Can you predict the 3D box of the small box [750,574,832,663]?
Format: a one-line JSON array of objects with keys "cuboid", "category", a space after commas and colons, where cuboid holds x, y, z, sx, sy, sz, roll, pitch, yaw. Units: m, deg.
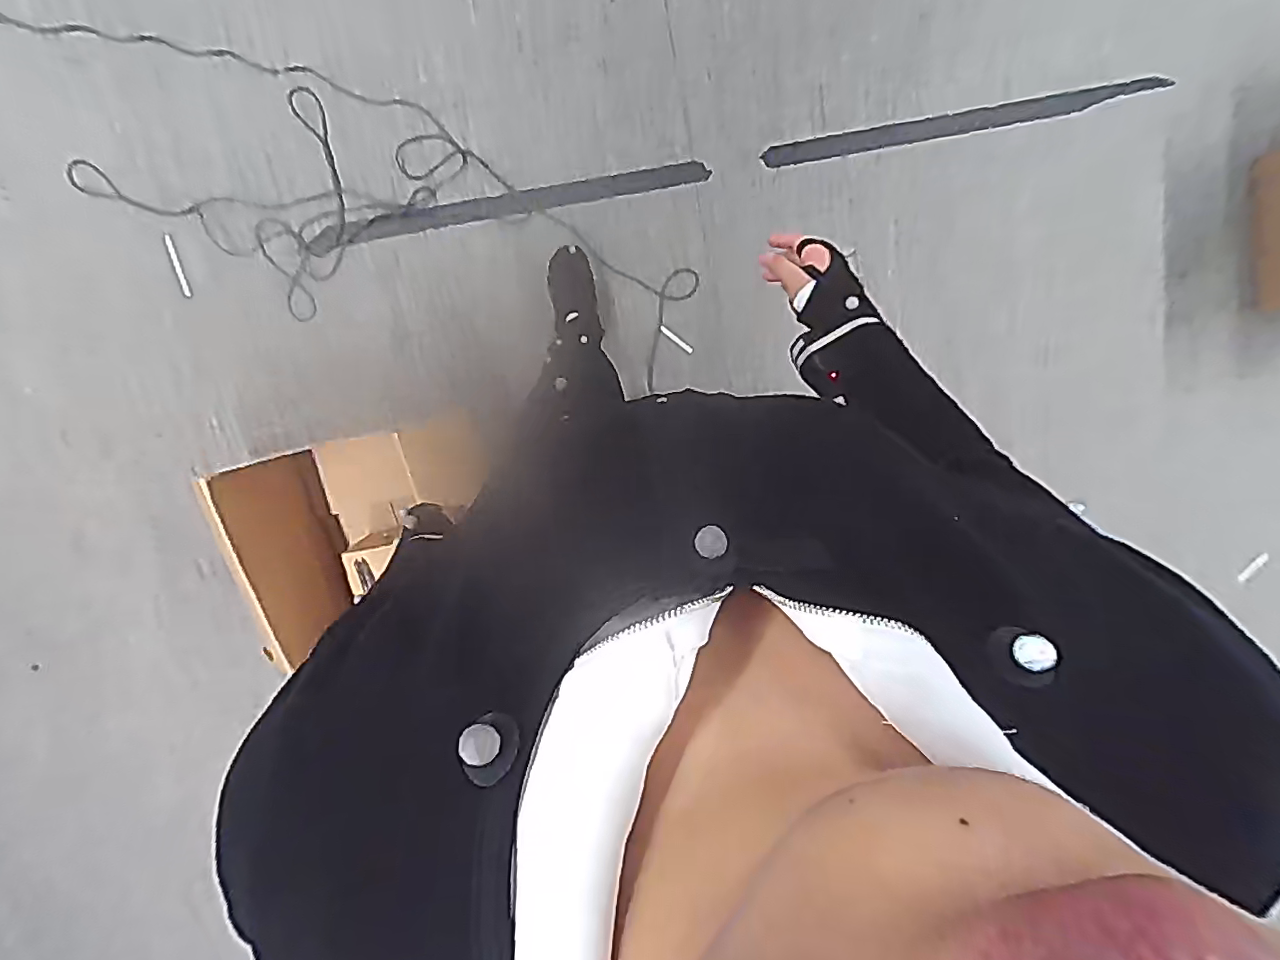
[{"cuboid": [0.406, 0.367, 1.474, 0.168, 0.176, 0.179, -8, 101, -3], "category": "small box"}]
